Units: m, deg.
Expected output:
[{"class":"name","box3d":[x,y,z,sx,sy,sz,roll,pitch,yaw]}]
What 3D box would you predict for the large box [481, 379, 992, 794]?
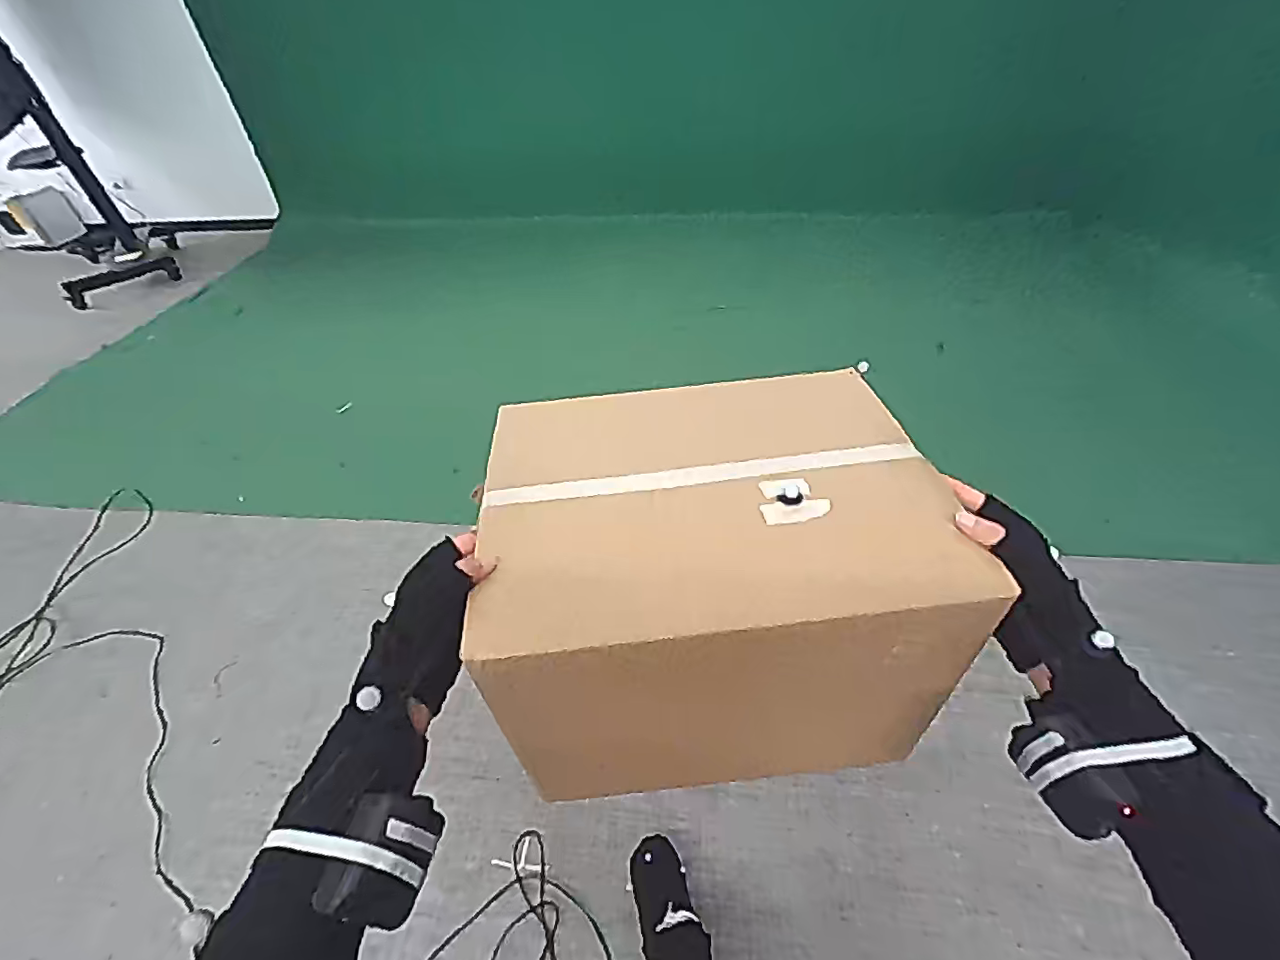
[{"class":"large box","box3d":[0.067,0.114,0.613,0.408,0.320,0.320,-6,43,-2]}]
